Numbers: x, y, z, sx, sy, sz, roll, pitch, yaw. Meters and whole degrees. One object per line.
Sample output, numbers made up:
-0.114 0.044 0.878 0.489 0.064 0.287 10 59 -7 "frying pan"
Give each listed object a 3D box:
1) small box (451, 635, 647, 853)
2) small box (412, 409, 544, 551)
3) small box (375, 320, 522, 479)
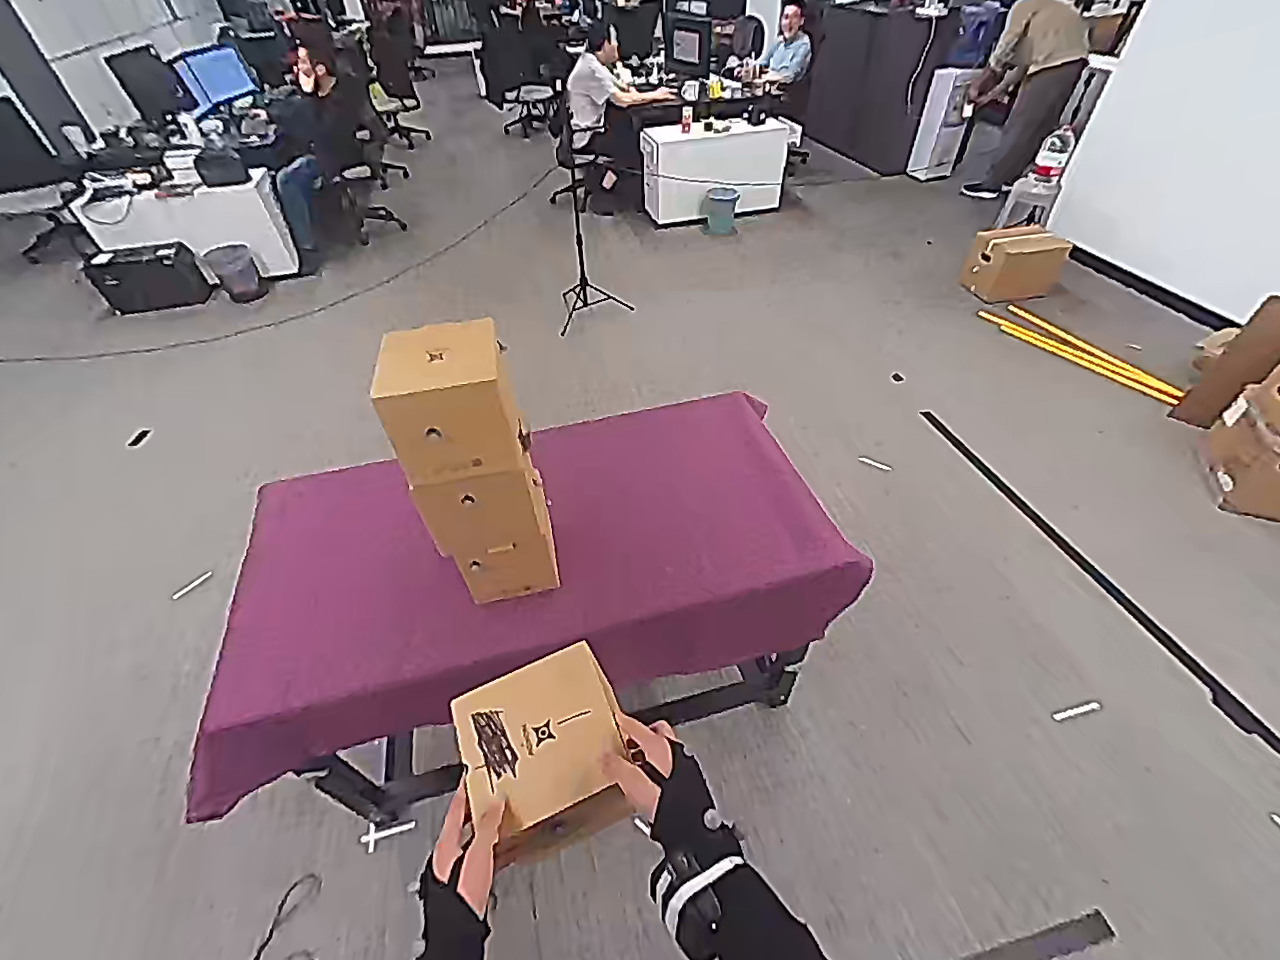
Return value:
-0.107 0.329 0.666 0.179 0.176 0.168 -22 50 -9 "small box"
-0.272 0.003 0.934 0.179 0.176 0.168 -10 46 -8 "small box"
-0.279 -0.117 0.824 0.168 0.176 0.179 -11 44 -8 "small box"
